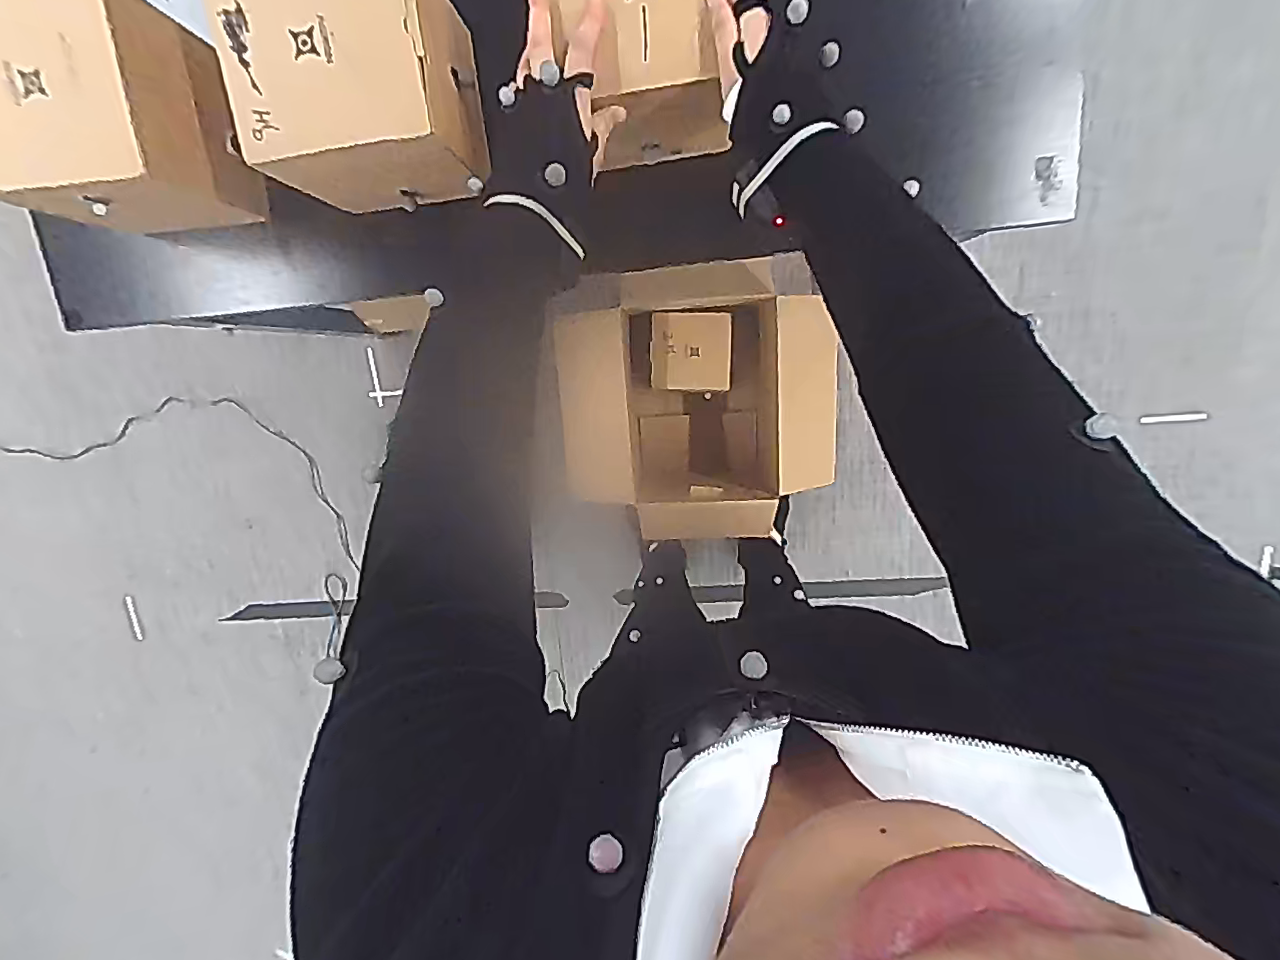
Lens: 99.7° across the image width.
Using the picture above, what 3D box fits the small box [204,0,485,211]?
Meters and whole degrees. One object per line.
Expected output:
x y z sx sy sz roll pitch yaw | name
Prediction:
-0.263 -0.379 0.525 0.179 0.176 0.168 -6 102 4 | small box

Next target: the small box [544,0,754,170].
0.005 -0.420 0.501 0.168 0.176 0.179 -7 102 5 | small box

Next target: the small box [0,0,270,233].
-0.525 -0.357 0.543 0.179 0.176 0.168 -3 103 3 | small box
